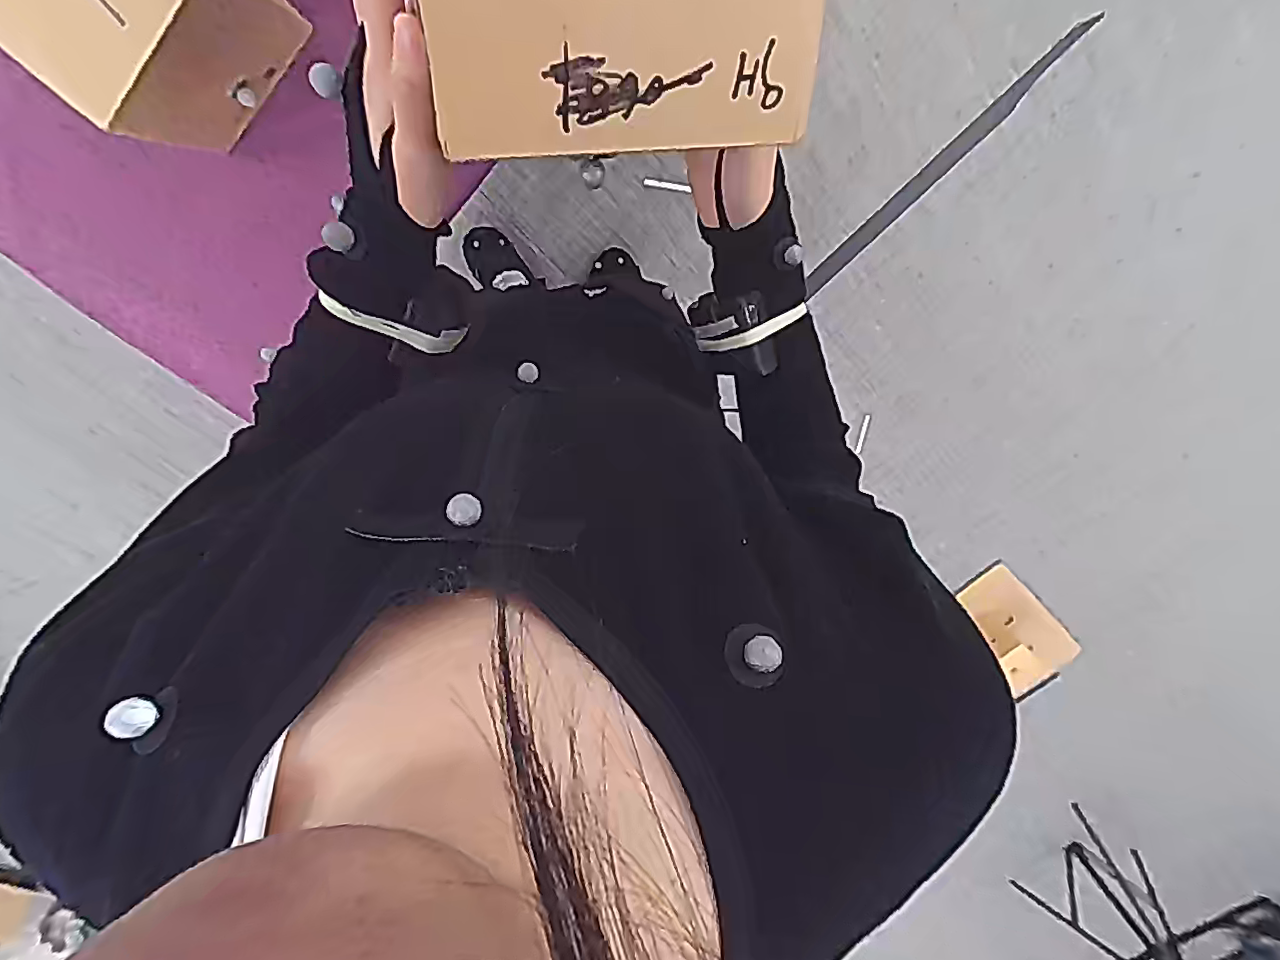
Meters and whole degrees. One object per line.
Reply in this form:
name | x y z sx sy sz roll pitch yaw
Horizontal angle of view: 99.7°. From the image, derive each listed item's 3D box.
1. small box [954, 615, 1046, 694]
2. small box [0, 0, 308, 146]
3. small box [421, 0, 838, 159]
small box | 1.238 0.596 1.875 0.179 0.176 0.168 37 107 -19
small box | -0.437 -0.422 0.459 0.168 0.176 0.179 -41 112 14
small box | -0.021 -0.254 0.252 0.168 0.176 0.179 -10 124 -13
